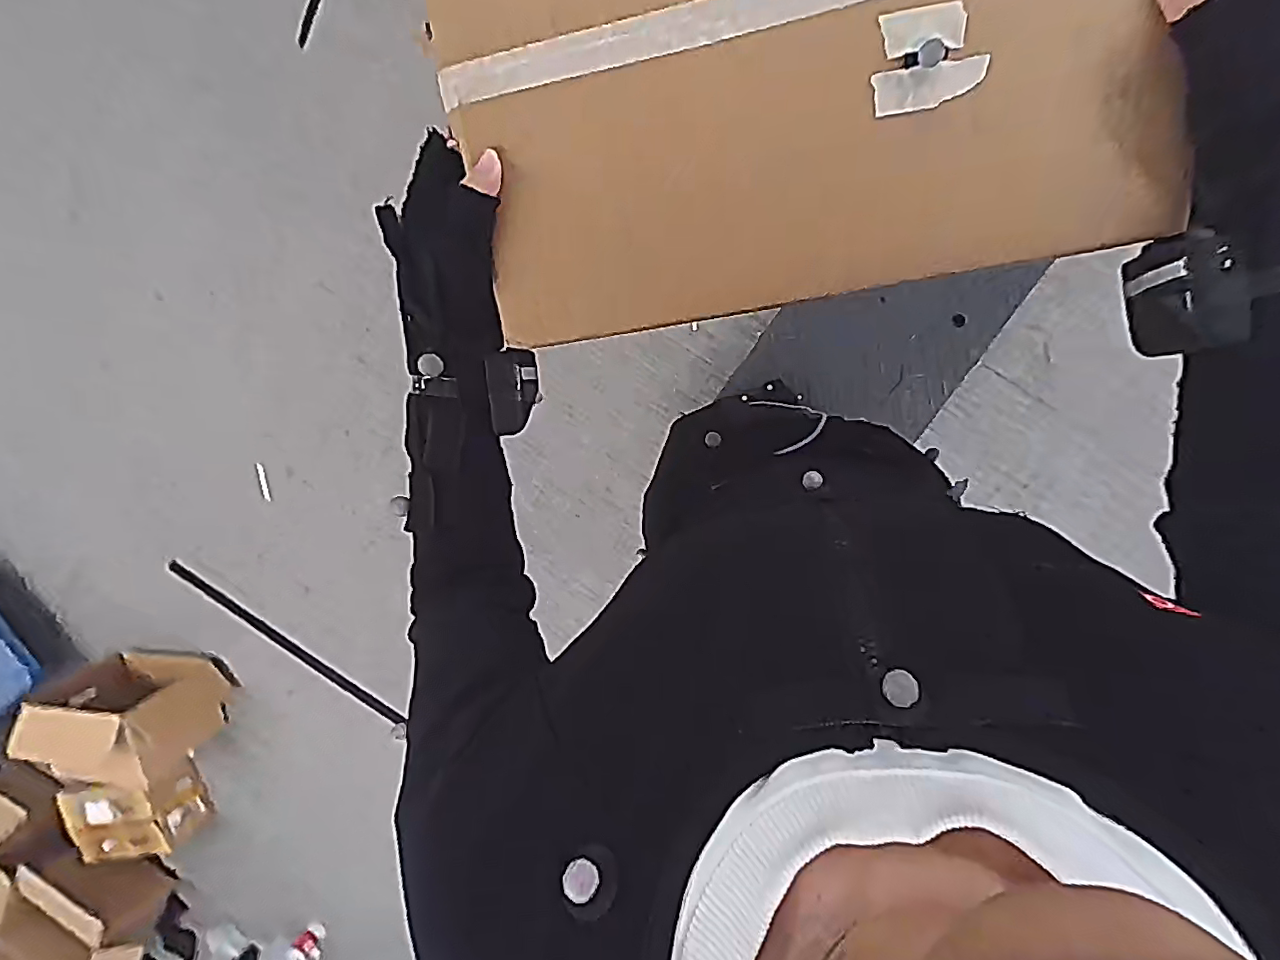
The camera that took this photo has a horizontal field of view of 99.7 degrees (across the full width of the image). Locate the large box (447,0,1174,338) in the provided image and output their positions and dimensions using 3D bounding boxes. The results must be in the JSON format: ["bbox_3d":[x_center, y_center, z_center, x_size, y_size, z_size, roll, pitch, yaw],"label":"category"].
[{"bbox_3d":[0.099,-0.313,0.451,0.408,0.320,0.320,-7,107,8],"label":"large box"}]
